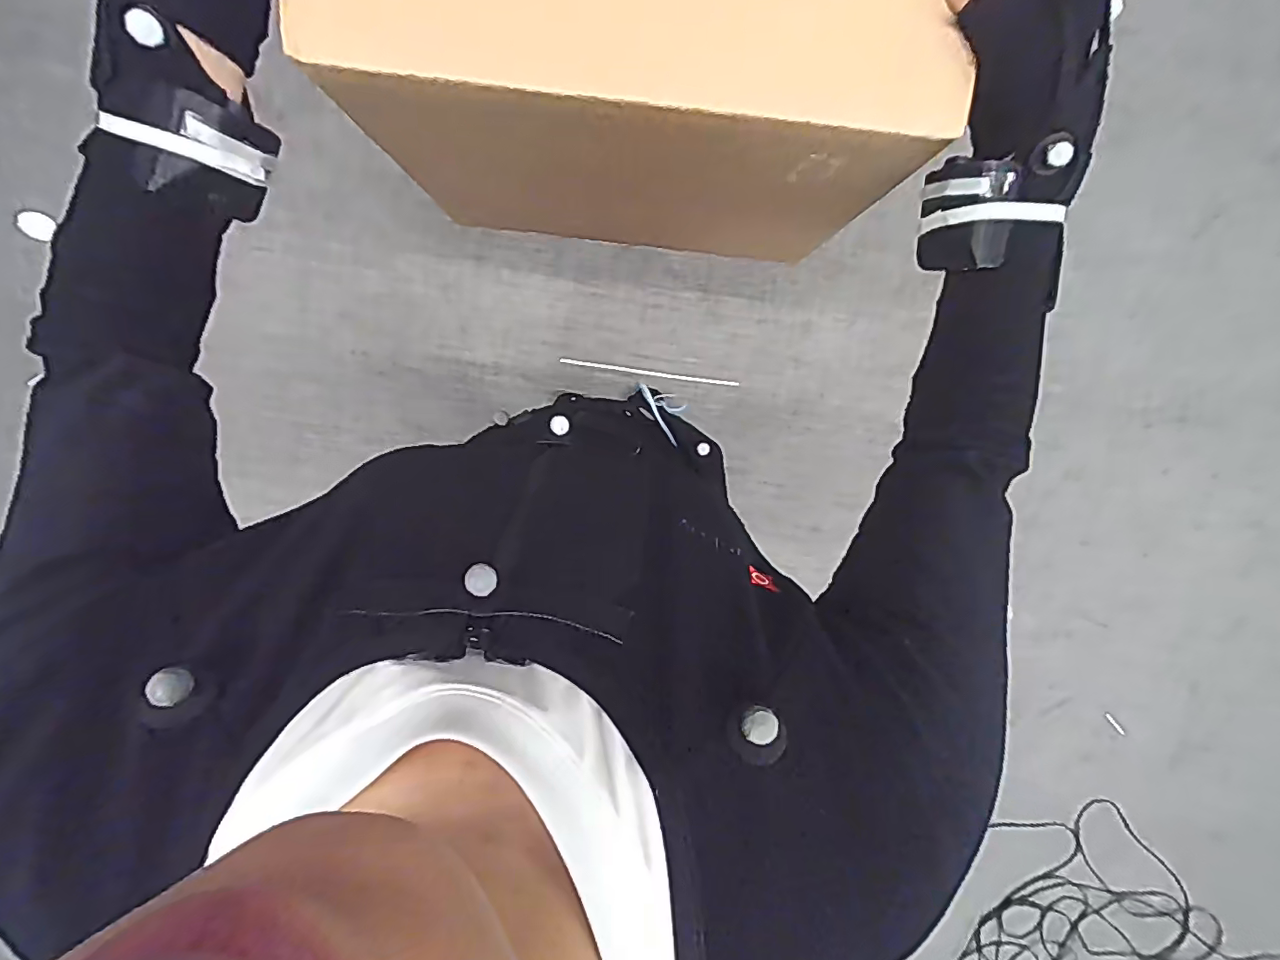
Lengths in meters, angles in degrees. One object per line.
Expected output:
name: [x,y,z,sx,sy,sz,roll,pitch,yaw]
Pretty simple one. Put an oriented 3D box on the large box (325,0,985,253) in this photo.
large box: [0.014,-0.406,0.457,0.408,0.320,0.320,5,99,-3]
